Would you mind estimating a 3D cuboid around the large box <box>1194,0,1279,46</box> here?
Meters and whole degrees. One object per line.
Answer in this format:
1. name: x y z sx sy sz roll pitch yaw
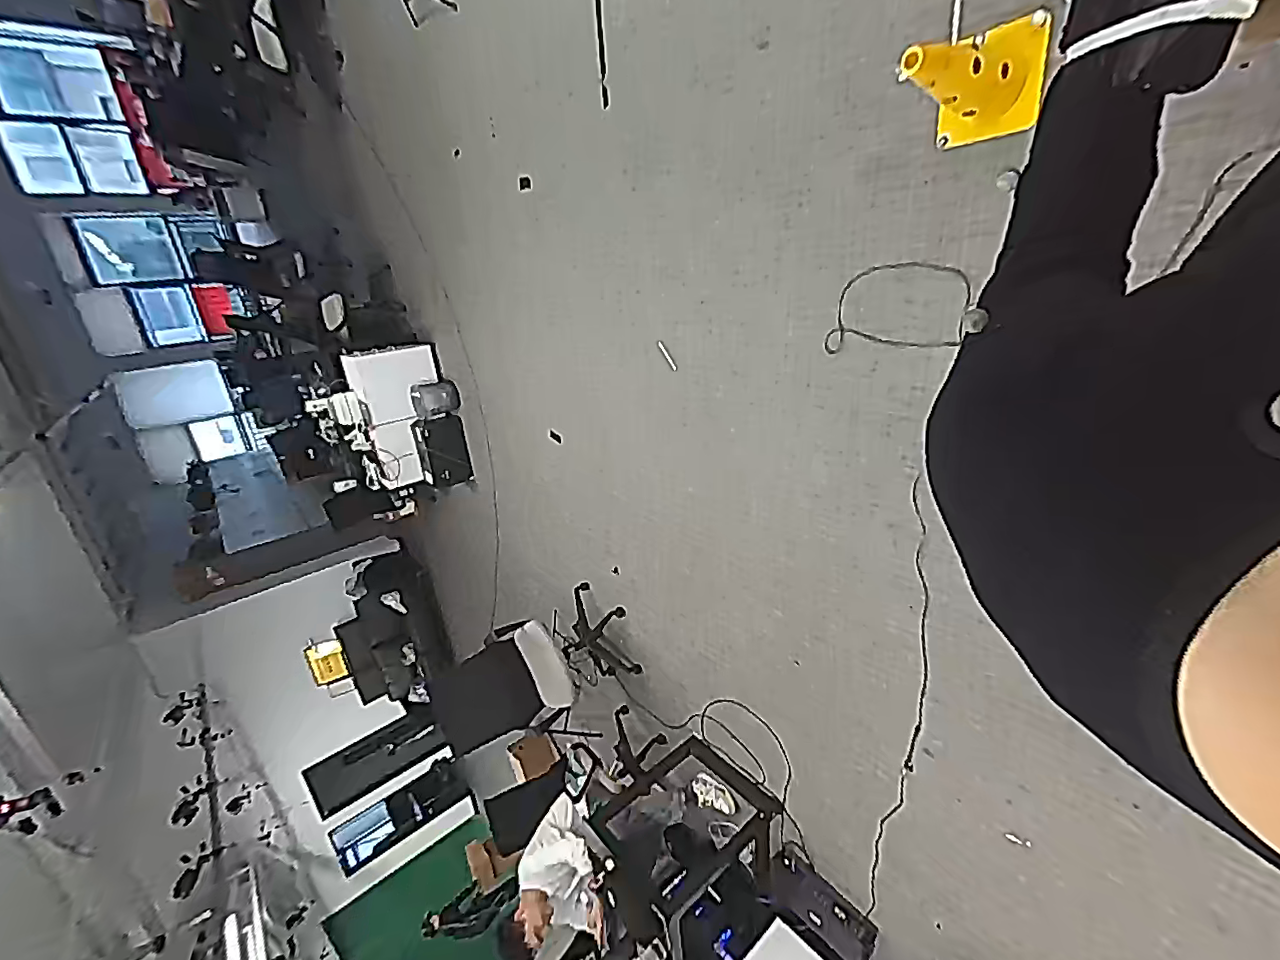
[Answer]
1. large box: 0.567 -0.446 0.229 0.408 0.320 0.320 21 128 44
